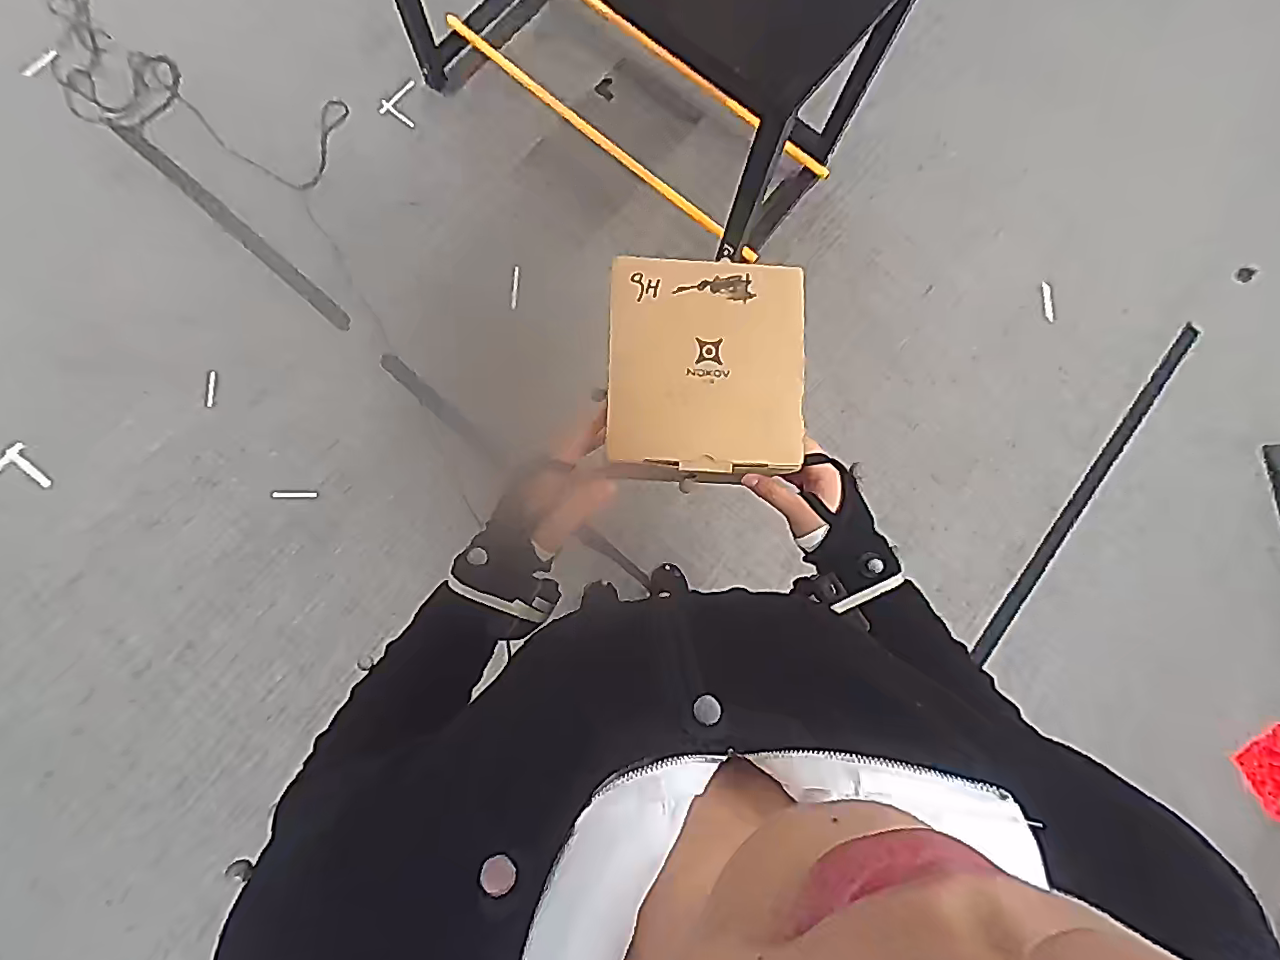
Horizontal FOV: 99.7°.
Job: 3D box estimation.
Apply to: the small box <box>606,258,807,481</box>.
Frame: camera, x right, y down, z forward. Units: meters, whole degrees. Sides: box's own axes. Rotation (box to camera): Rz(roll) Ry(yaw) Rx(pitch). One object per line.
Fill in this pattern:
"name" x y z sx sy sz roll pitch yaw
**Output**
"small box" 0.052 -0.091 0.527 0.168 0.176 0.179 1 86 -5
